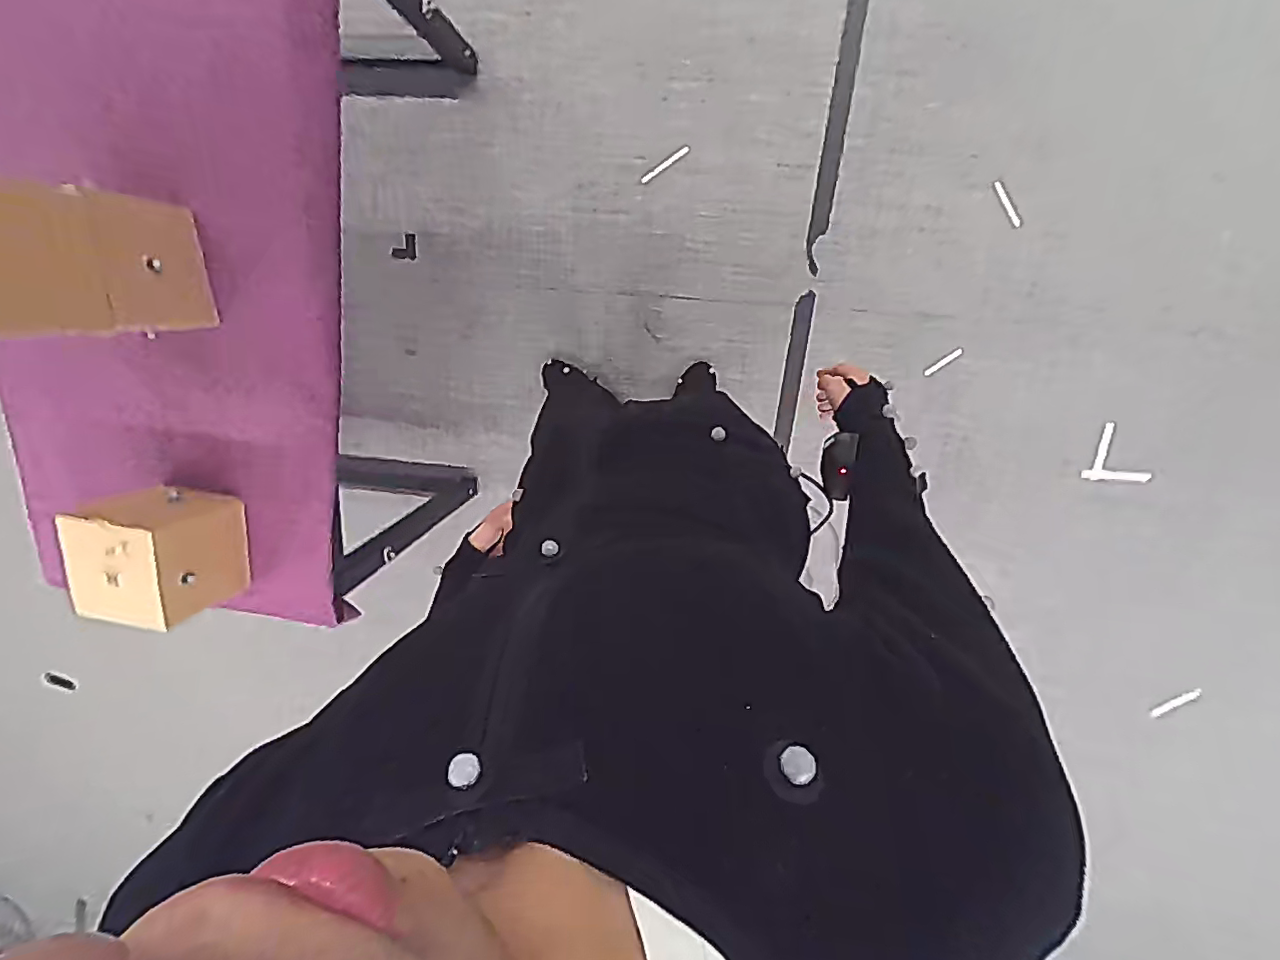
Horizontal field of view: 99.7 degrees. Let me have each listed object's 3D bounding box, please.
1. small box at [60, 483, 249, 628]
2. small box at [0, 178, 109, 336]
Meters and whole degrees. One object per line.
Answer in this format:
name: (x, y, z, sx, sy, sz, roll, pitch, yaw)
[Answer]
small box: (-0.805, 0.120, 0.918, 0.168, 0.176, 0.179, 9, 107, 5)
small box: (-0.792, -0.262, 0.637, 0.168, 0.176, 0.179, 4, 107, 6)
